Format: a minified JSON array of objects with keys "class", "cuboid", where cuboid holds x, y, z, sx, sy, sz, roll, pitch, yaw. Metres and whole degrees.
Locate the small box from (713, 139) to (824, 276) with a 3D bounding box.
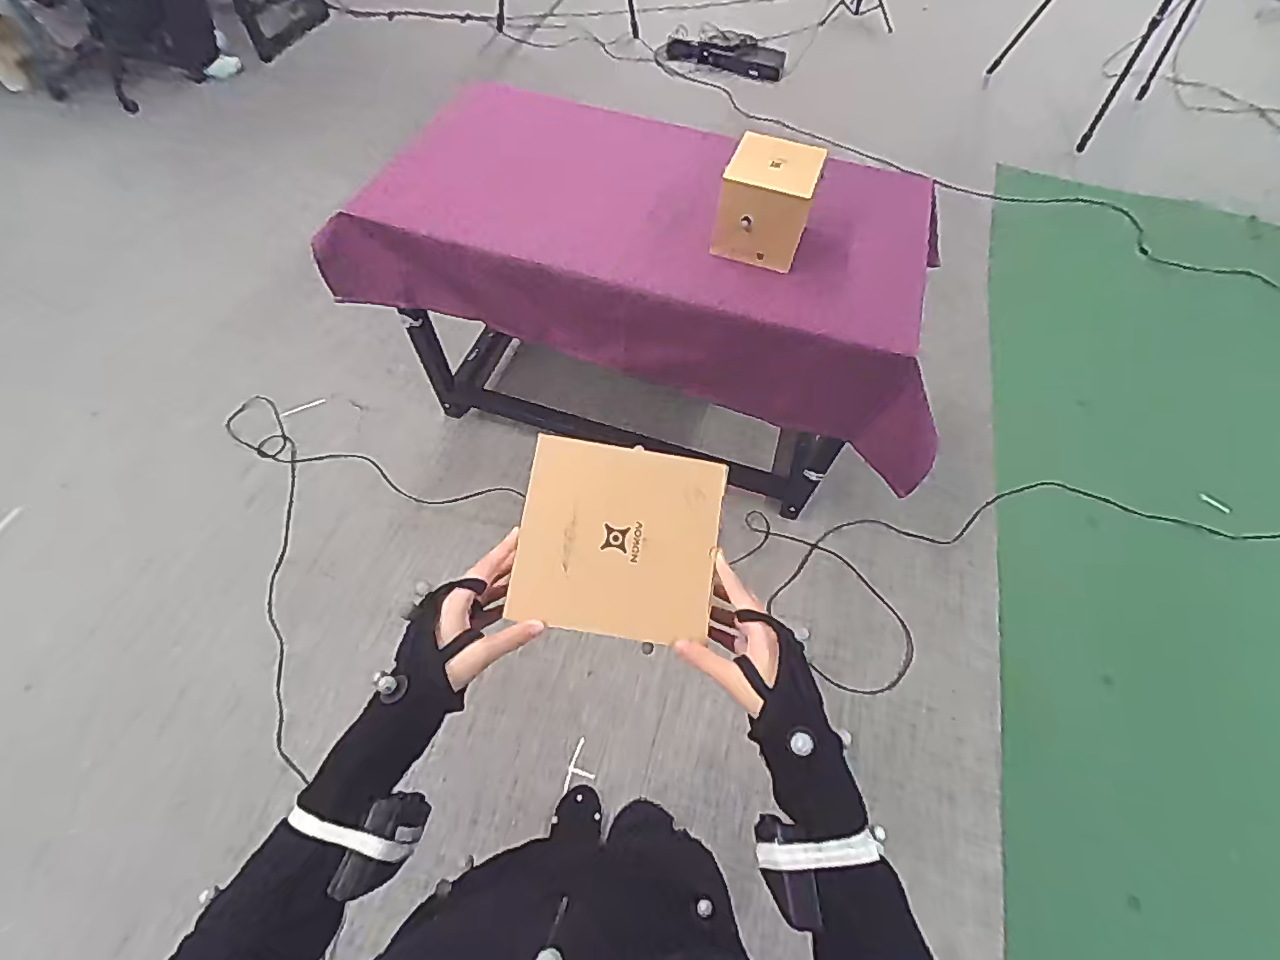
[{"class":"small box","cuboid":[0.252,-0.544,1.090,0.168,0.176,0.179,18,59,8]}]
